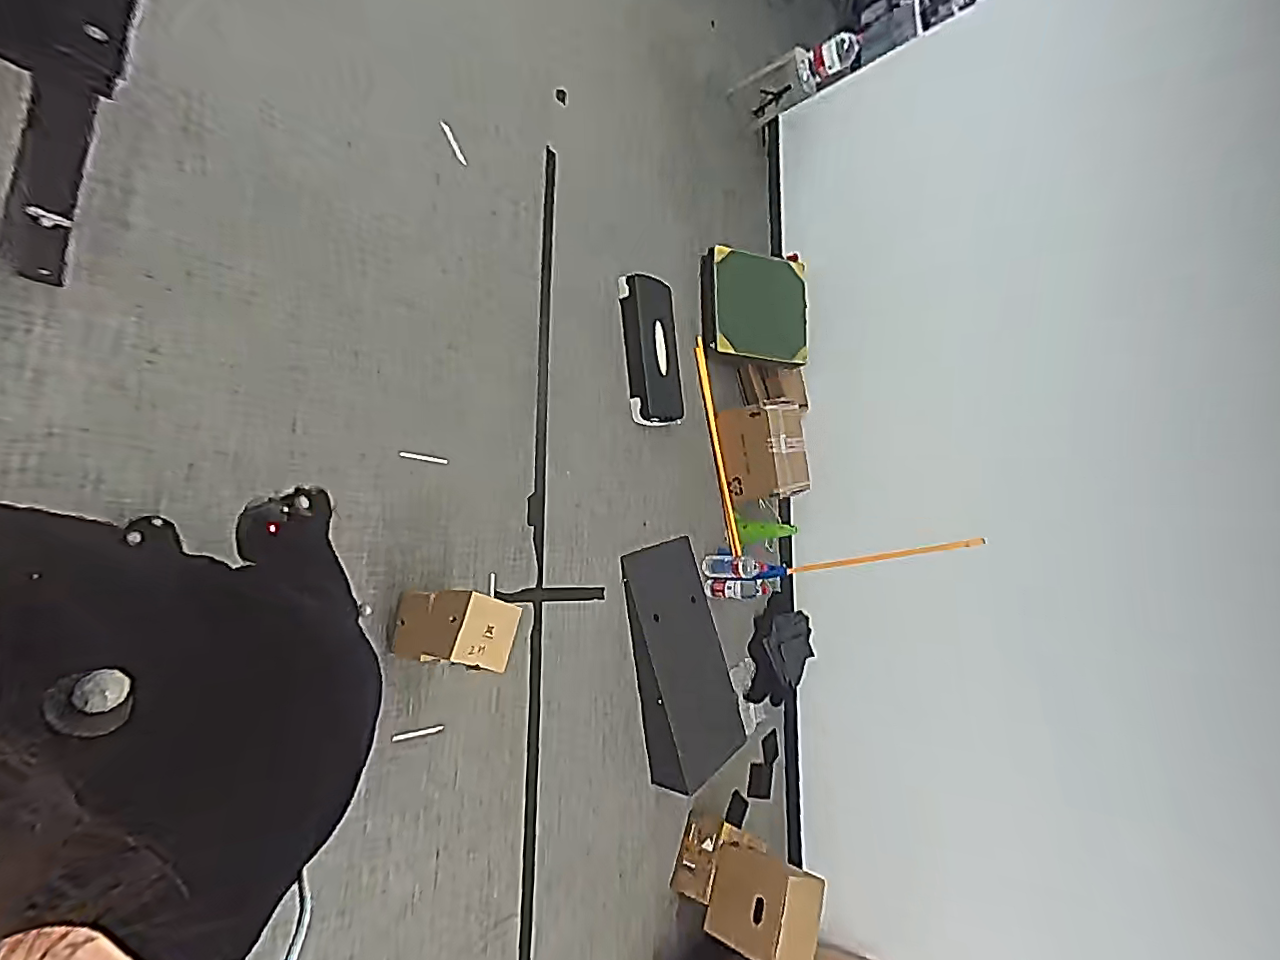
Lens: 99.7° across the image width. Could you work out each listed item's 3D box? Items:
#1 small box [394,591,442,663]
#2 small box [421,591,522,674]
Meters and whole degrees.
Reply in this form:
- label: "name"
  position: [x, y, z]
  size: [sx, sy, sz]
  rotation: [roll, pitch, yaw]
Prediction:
- label: "small box"
  position: [-0.575, 0.416, 1.535]
  size: [0.168, 0.176, 0.179]
  rotation: [19, 71, -47]
- label: "small box"
  position: [-0.447, 0.401, 1.431]
  size: [0.168, 0.176, 0.179]
  rotation: [35, 59, -41]
